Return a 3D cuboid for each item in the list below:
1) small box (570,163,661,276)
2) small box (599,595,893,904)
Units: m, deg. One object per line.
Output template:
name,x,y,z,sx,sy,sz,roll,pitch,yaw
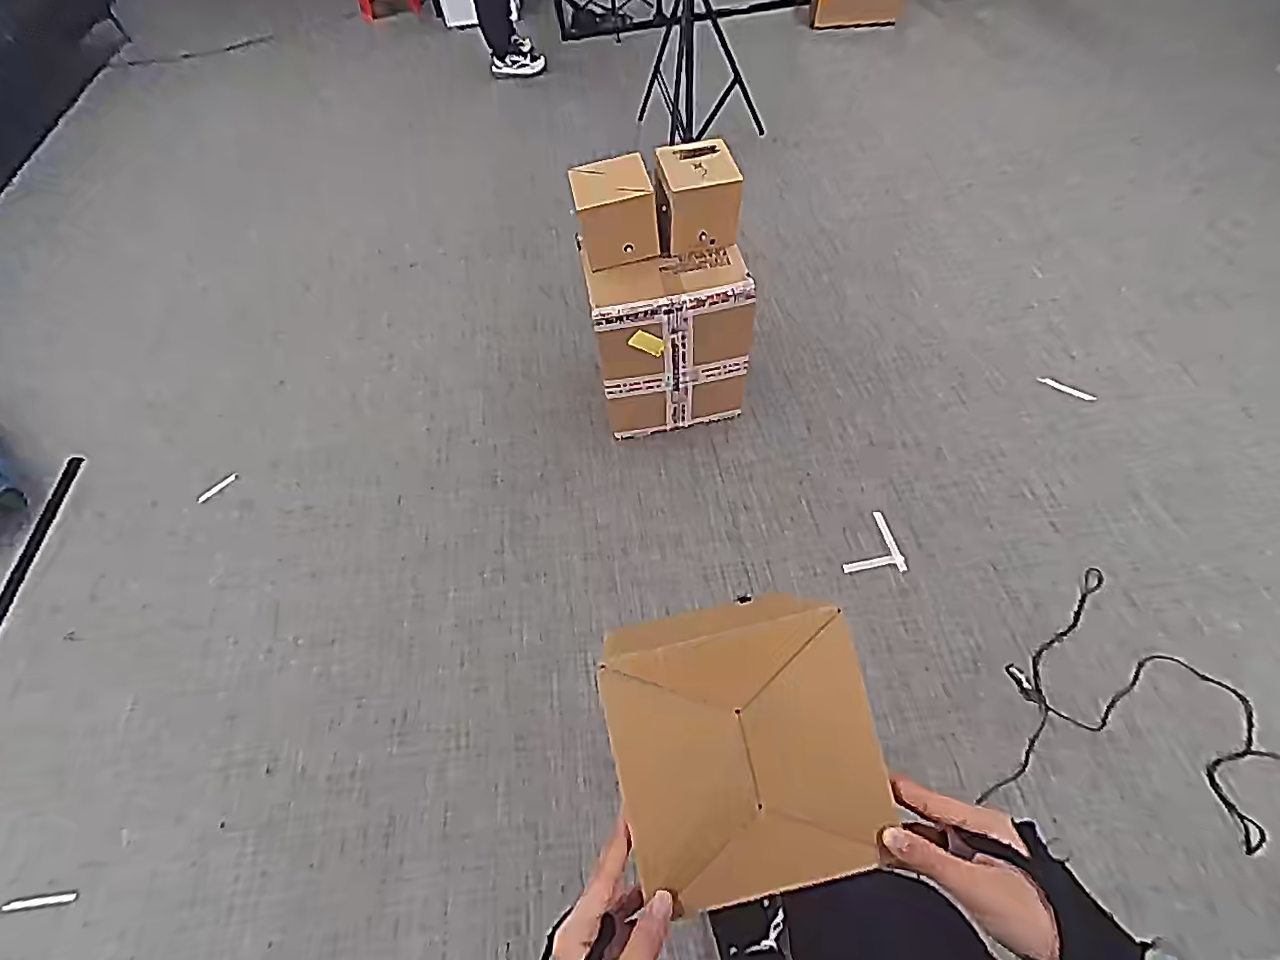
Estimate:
small box,-0.056,-0.627,1.296,0.179,0.176,0.168,-13,59,0
small box,0.067,0.197,0.441,0.179,0.176,0.168,-12,83,-2
